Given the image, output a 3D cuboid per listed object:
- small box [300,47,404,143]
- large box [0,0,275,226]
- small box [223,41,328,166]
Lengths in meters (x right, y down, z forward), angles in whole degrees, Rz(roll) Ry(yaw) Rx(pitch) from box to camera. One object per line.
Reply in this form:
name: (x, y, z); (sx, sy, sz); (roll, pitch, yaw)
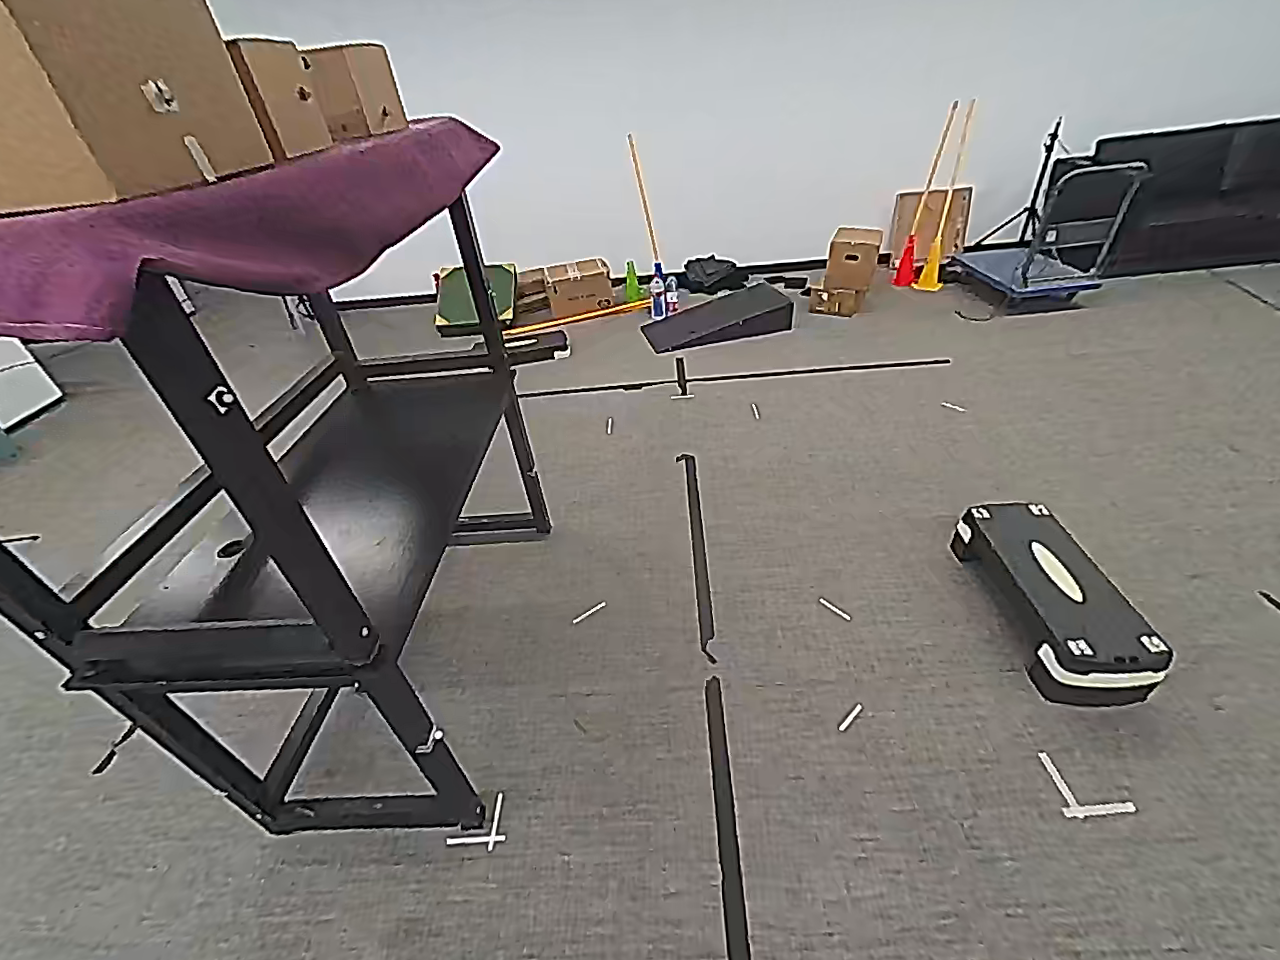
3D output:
small box: (-0.685, -0.899, 1.271); (0.168, 0.176, 0.179); (2, 38, 12)
large box: (-0.767, -0.493, 0.639); (0.408, 0.320, 0.320); (-4, 36, 5)
small box: (-0.696, -0.665, 0.967); (0.168, 0.176, 0.179); (-5, 37, 5)
